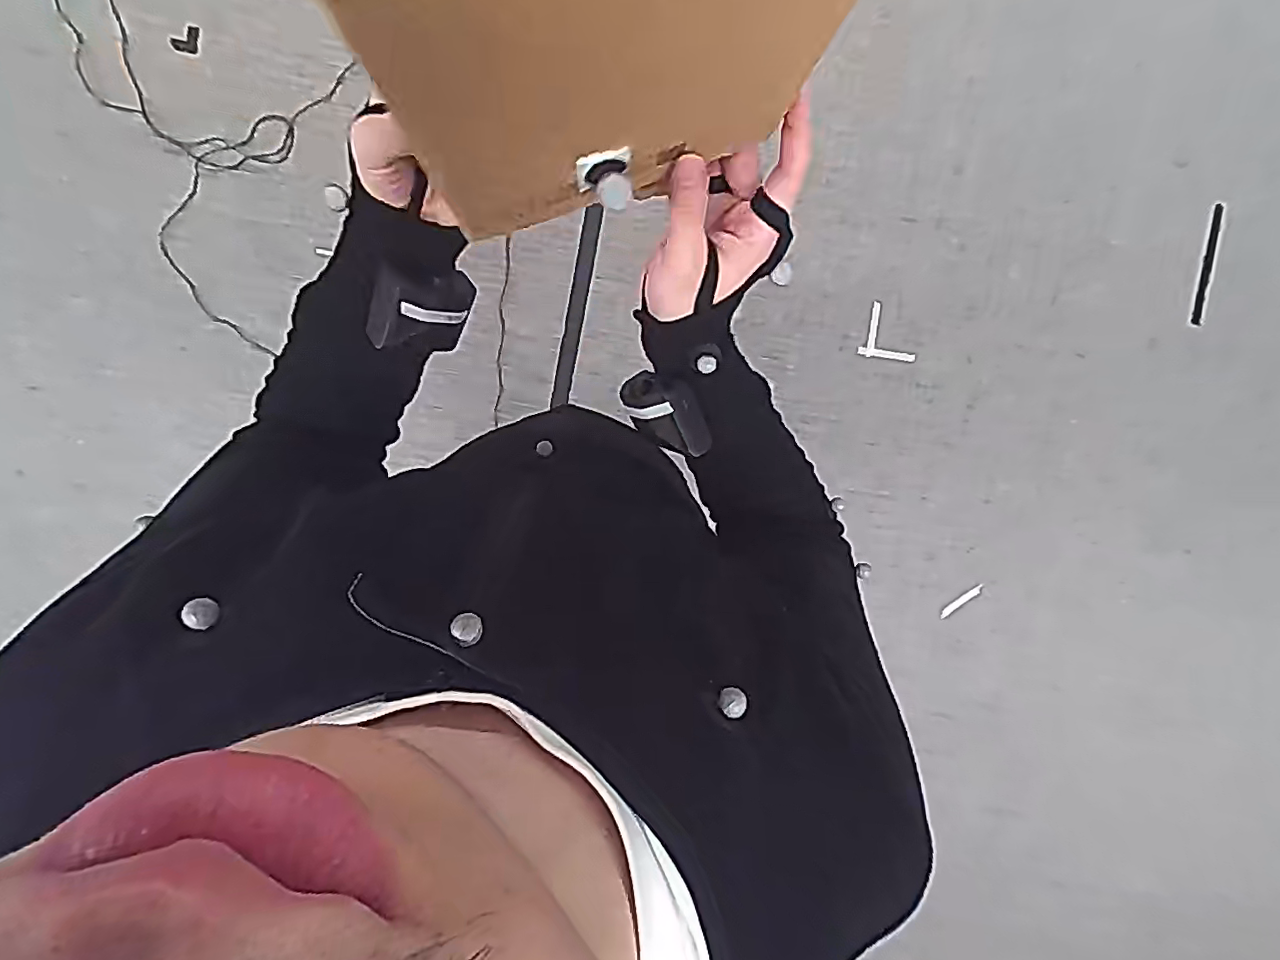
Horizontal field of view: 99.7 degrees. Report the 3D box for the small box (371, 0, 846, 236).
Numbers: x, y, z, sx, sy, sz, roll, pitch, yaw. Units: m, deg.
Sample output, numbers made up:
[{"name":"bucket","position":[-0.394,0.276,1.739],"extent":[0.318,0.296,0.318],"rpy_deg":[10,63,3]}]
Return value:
[{"name":"small box","position":[-0.029,-0.226,0.198],"extent":[0.168,0.176,0.179],"rpy_deg":[-23,97,-2]}]
